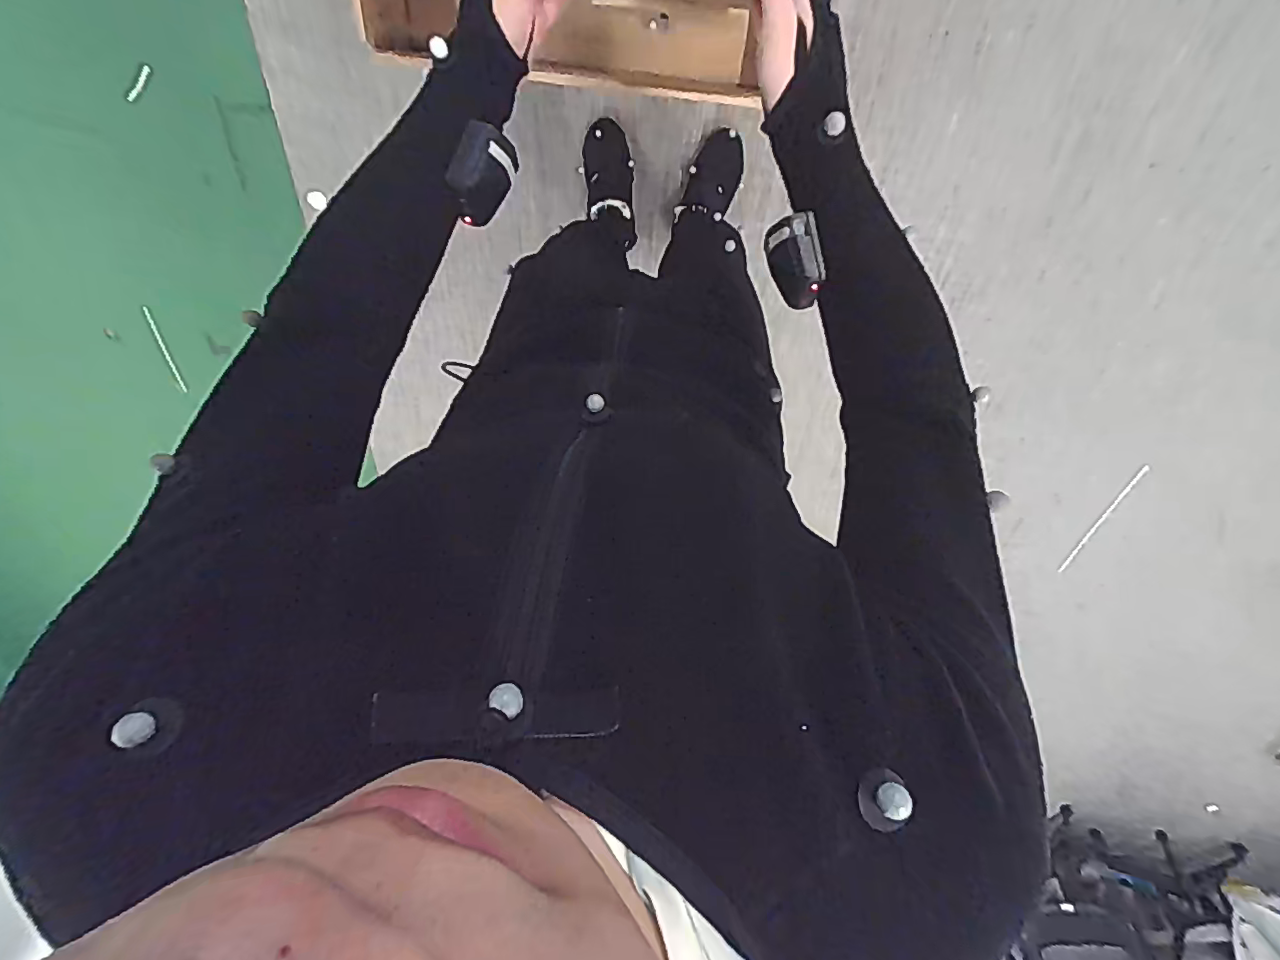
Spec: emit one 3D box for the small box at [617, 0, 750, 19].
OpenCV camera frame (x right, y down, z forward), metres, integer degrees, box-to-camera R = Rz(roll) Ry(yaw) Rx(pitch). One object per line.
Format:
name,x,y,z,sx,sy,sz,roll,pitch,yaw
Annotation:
small box,0.047,-0.607,0.563,0.168,0.176,0.179,8,129,3

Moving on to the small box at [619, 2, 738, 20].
small box,0.068,-0.709,0.689,0.168,0.176,0.179,8,128,2
